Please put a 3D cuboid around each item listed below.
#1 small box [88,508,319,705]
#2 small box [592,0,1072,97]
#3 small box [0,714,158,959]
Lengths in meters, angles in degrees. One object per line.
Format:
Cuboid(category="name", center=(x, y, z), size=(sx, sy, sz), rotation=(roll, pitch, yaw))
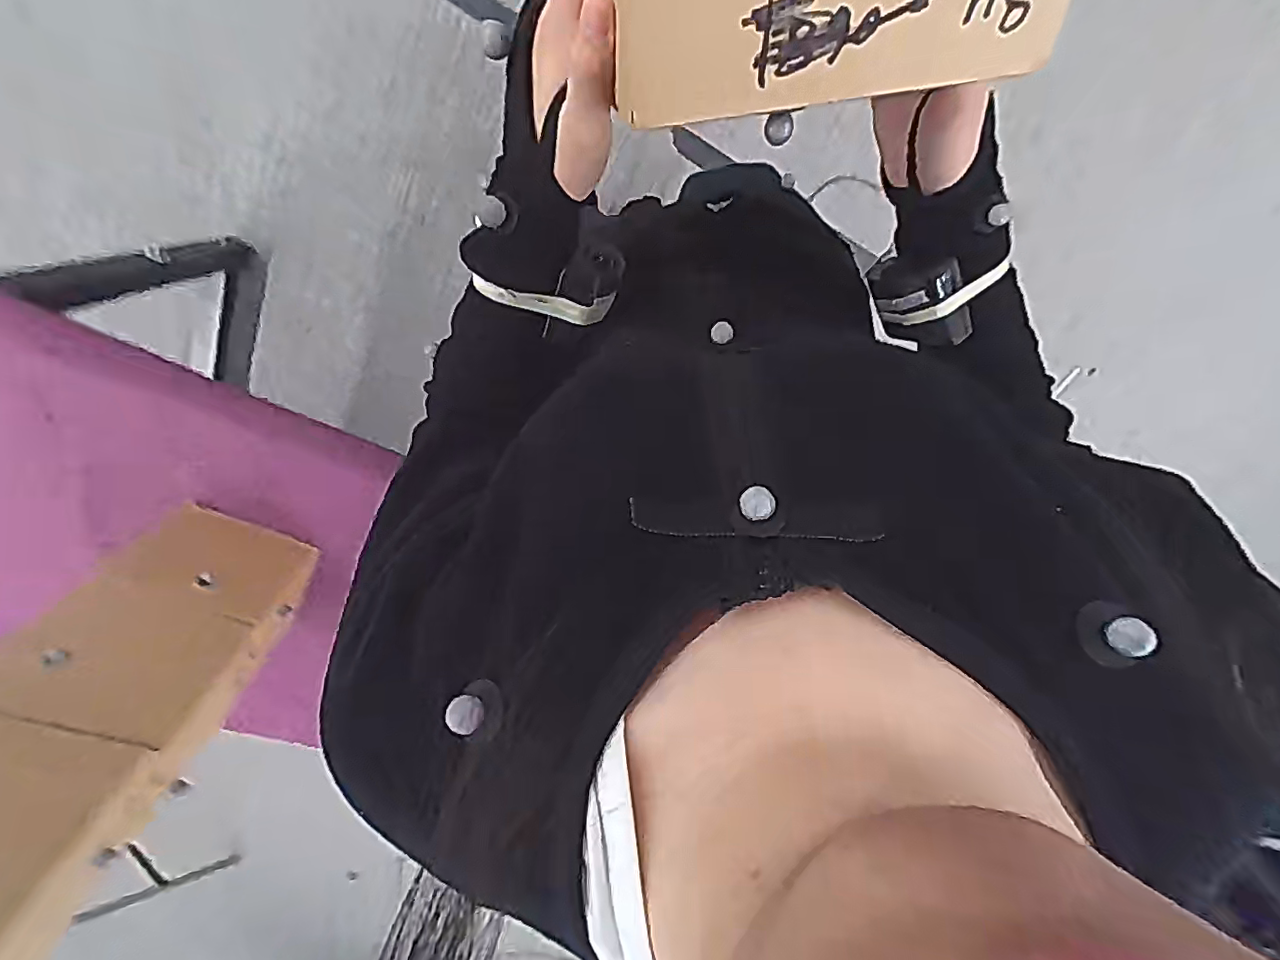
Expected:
Cuboid(category="small box", center=(-0.573, 0.164, 0.732), size=(0.179, 0.176, 0.168), rotation=(25, 113, -16))
Cuboid(category="small box", center=(0.059, -0.266, 0.210), size=(0.168, 0.176, 0.179), rotation=(-8, 130, -2))
Cuboid(category="small box", center=(-0.557, 0.316, 0.439), size=(0.179, 0.176, 0.168), rotation=(24, 114, -17))
